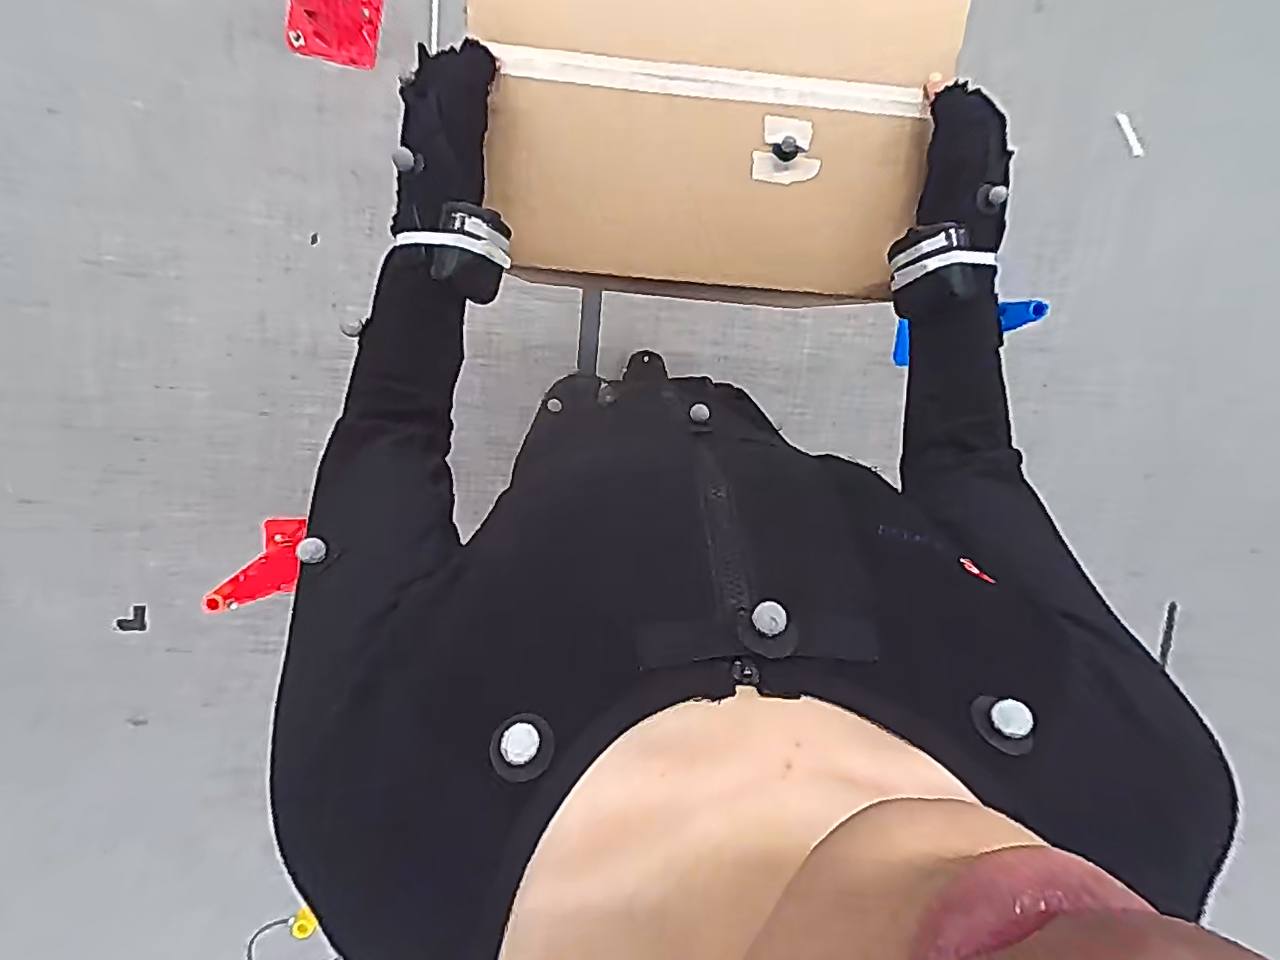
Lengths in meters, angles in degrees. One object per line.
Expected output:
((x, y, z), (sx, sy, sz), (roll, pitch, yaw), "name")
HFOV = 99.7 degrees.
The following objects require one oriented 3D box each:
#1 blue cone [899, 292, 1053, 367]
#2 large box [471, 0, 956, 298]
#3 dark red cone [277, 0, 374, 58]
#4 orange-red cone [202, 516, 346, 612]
((0.820, -0.386, 1.312), (0.192, 0.380, 0.193), (7, 97, -7), "blue cone")
((0.051, -0.382, 0.598), (0.408, 0.320, 0.320), (3, 107, -4), "large box")
((-0.690, -1.054, 1.059), (0.201, 0.394, 0.202), (9, 97, -7), "dark red cone")
((-0.862, 0.221, 1.247), (0.198, 0.360, 0.199), (1, 99, -4), "orange-red cone")
